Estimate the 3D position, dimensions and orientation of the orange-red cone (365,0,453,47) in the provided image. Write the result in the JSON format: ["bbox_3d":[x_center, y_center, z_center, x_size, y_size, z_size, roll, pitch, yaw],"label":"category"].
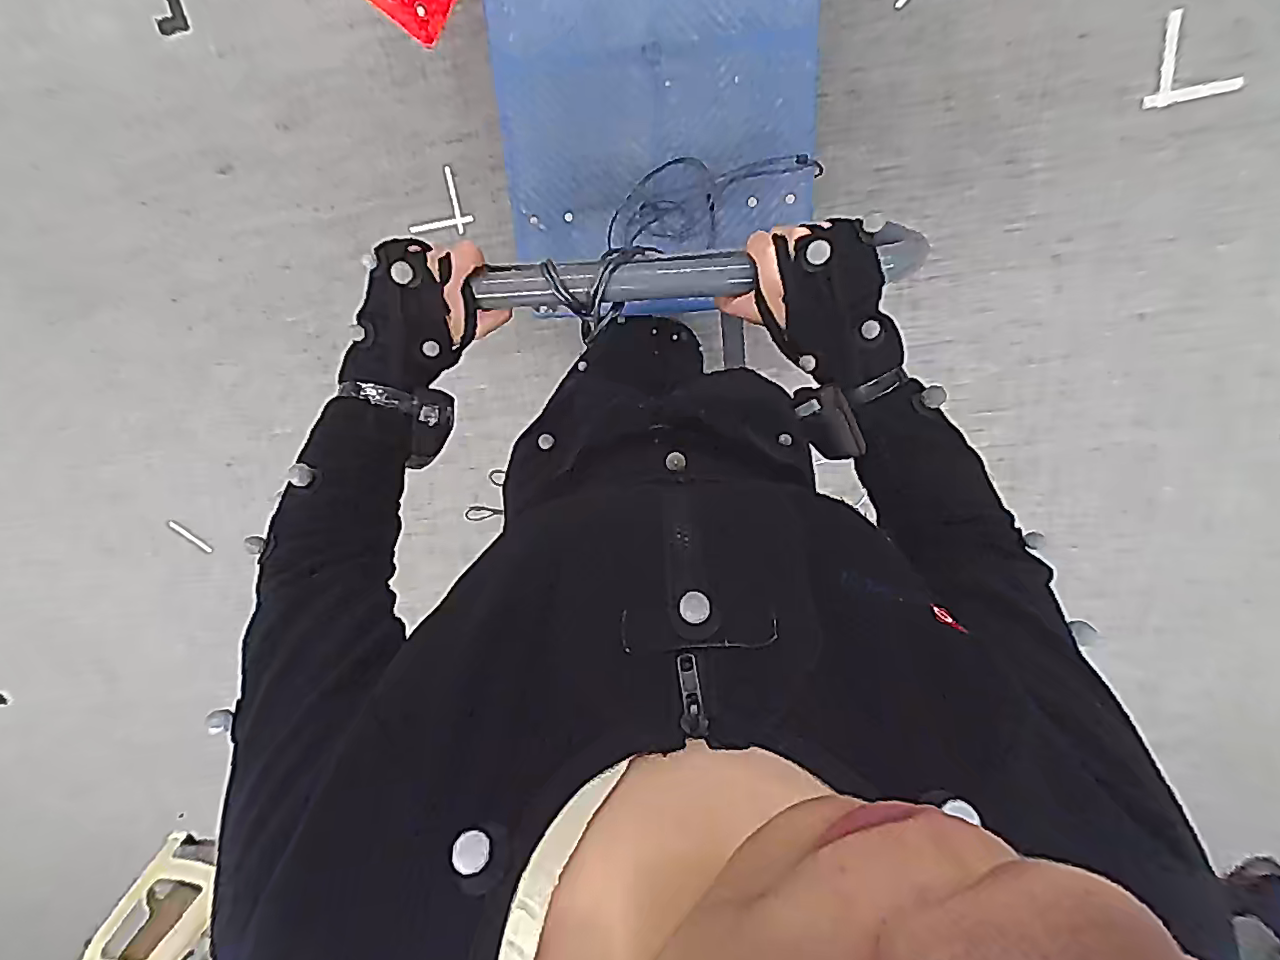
[{"bbox_3d":[-0.464,-0.948,0.905,0.198,0.360,0.199,37,107,-10],"label":"orange-red cone"}]
